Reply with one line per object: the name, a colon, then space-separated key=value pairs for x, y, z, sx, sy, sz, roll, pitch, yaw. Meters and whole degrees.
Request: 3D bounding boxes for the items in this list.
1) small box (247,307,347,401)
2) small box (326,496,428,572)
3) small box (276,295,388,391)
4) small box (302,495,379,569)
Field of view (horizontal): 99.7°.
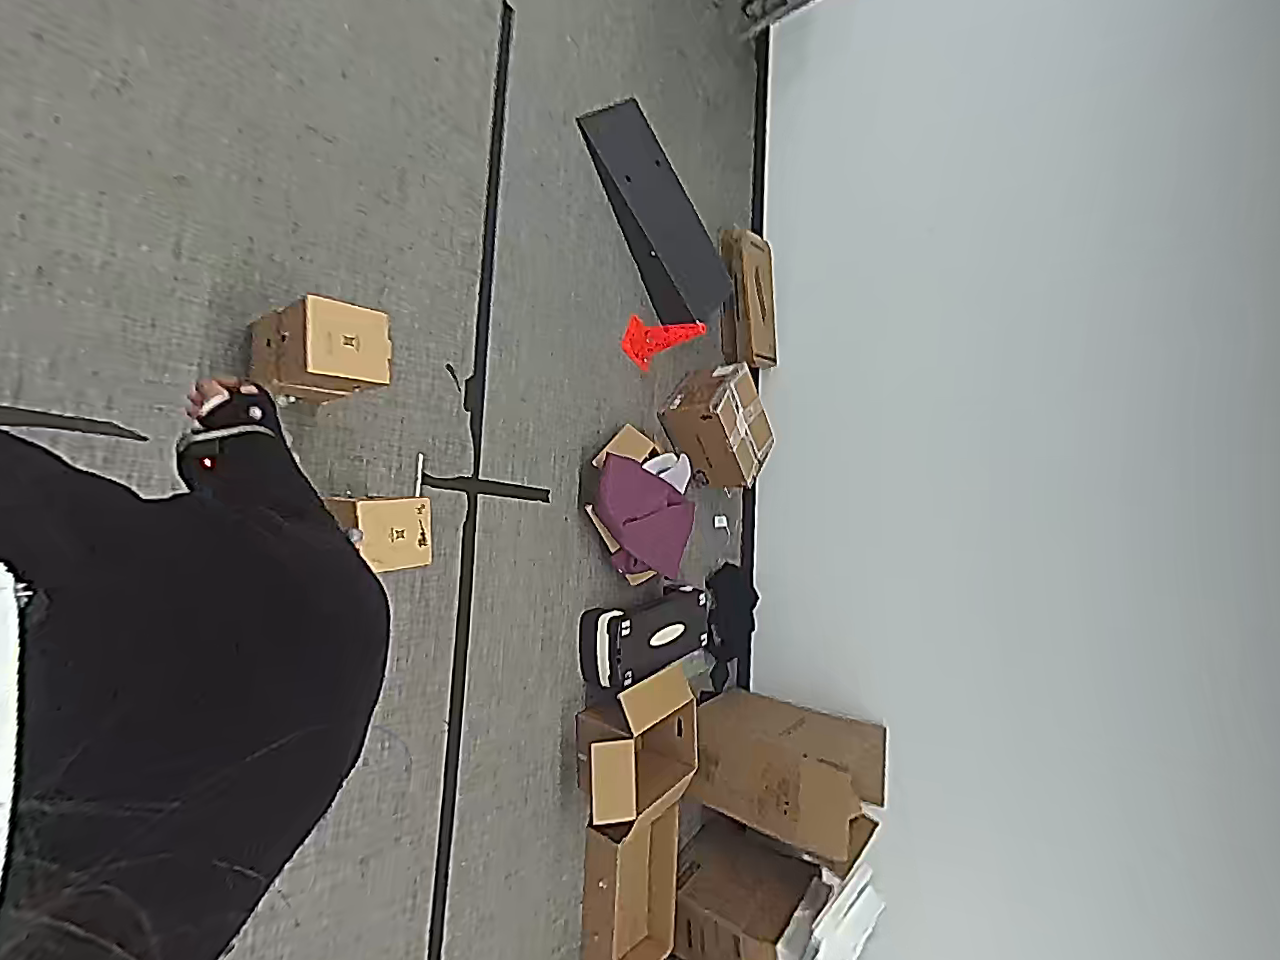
small box: x=-0.834 y=-0.298 z=1.320 sx=0.168 sy=0.176 sz=0.179 roll=6 pitch=85 yaw=-51
small box: x=-0.635 y=0.124 z=1.300 sx=0.179 sy=0.176 sz=0.168 roll=-1 pitch=90 yaw=-51
small box: x=-0.699 y=-0.300 z=1.229 sx=0.179 sy=0.176 sz=0.168 roll=0 pitch=88 yaw=-51
small box: x=-0.759 y=0.129 z=1.407 sx=0.168 sy=0.176 sz=0.179 roll=1 pitch=88 yaw=-52
